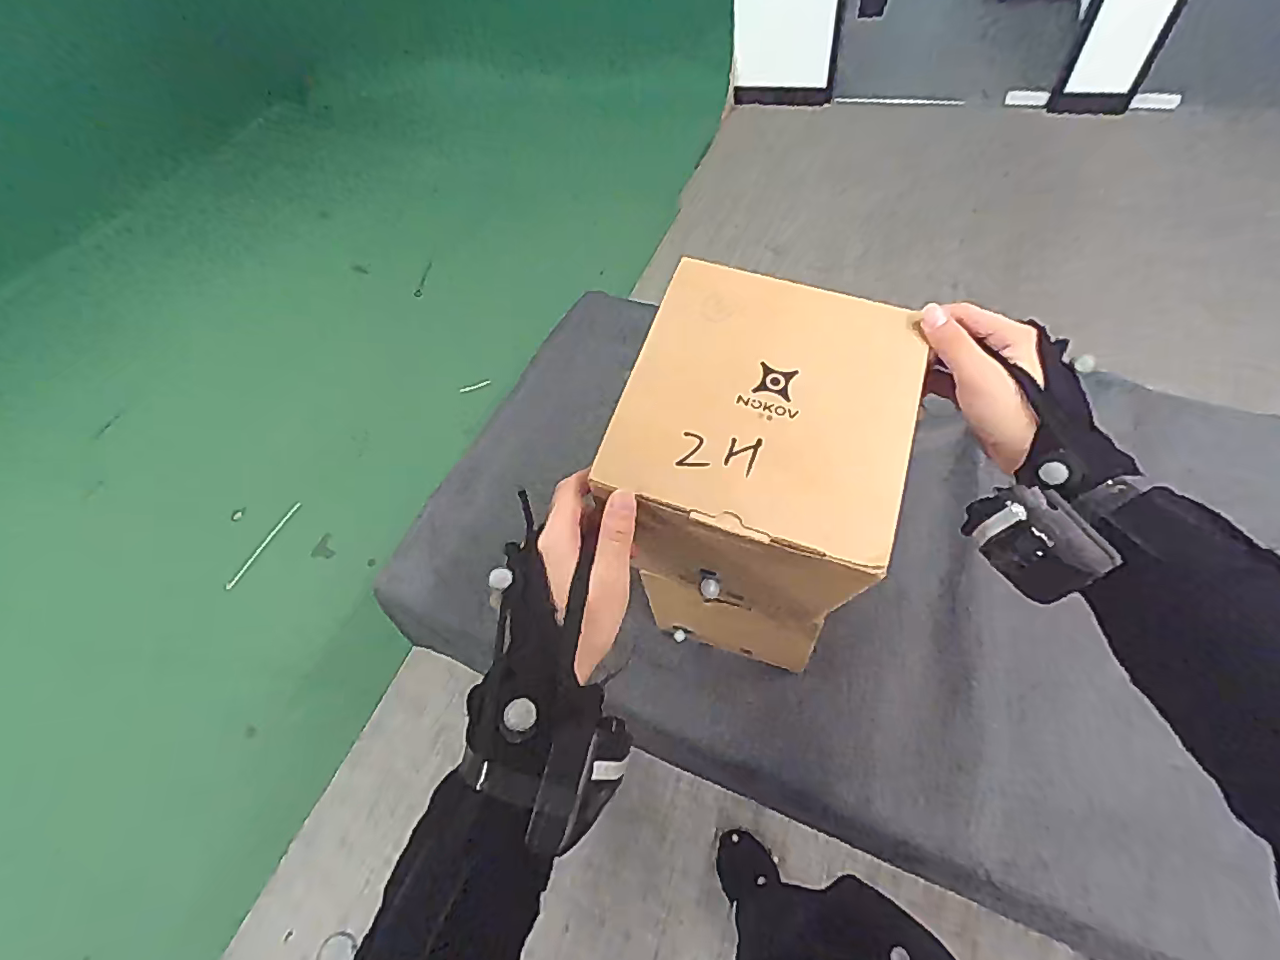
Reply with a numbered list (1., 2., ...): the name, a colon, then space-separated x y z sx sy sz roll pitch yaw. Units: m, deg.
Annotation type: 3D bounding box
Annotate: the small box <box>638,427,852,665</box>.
1. small box: 0.113 0.074 0.574 0.168 0.176 0.179 14 59 17
